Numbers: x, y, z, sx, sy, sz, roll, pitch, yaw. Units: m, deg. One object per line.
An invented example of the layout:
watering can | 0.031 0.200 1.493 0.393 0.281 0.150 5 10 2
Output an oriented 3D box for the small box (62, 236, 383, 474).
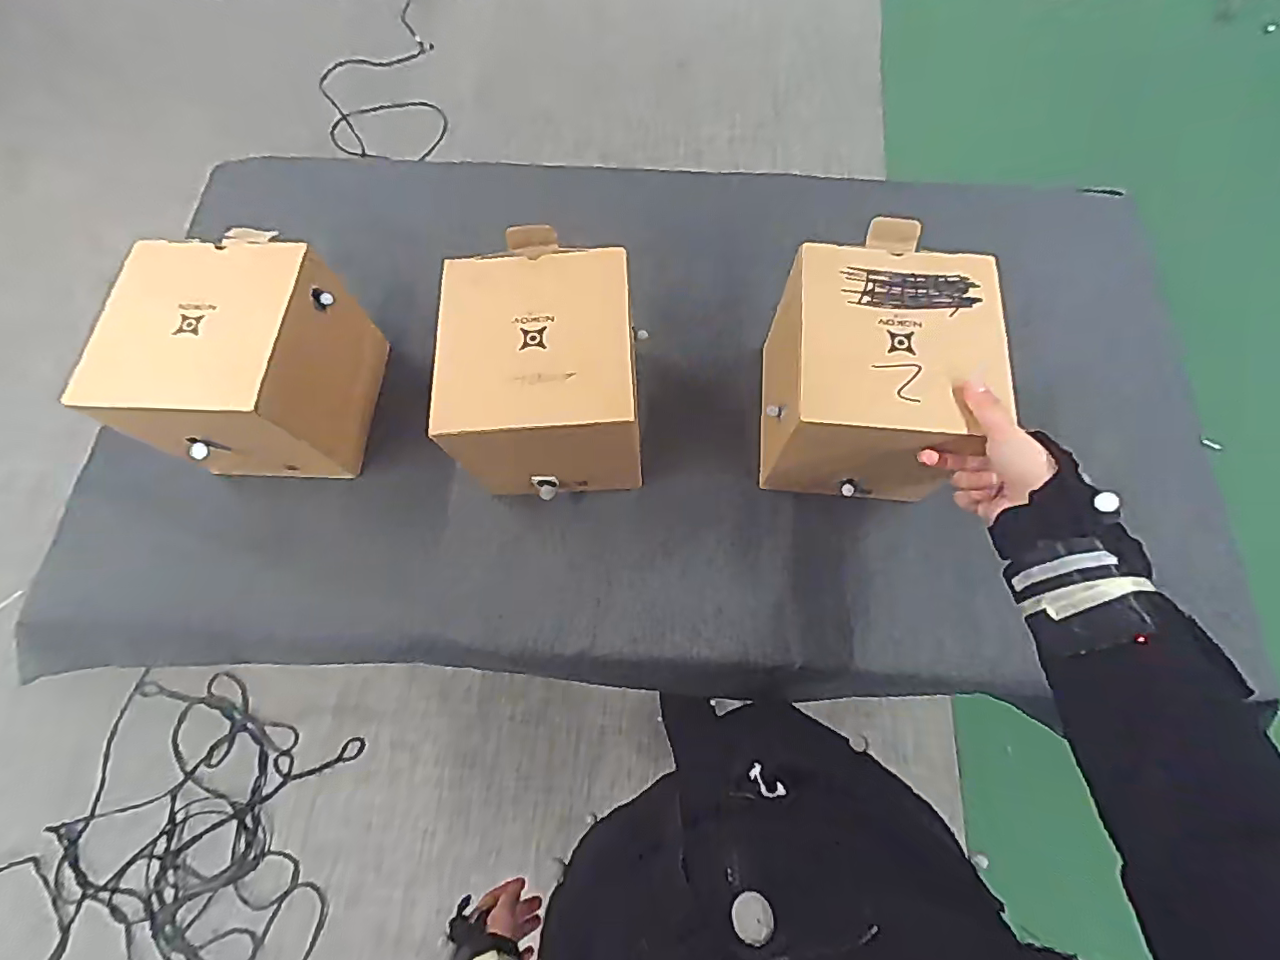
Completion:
small box | -0.385 -0.114 0.540 0.168 0.176 0.179 2 69 2

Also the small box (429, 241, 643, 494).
small box | -0.086 -0.099 0.526 0.168 0.176 0.179 -5 71 2
